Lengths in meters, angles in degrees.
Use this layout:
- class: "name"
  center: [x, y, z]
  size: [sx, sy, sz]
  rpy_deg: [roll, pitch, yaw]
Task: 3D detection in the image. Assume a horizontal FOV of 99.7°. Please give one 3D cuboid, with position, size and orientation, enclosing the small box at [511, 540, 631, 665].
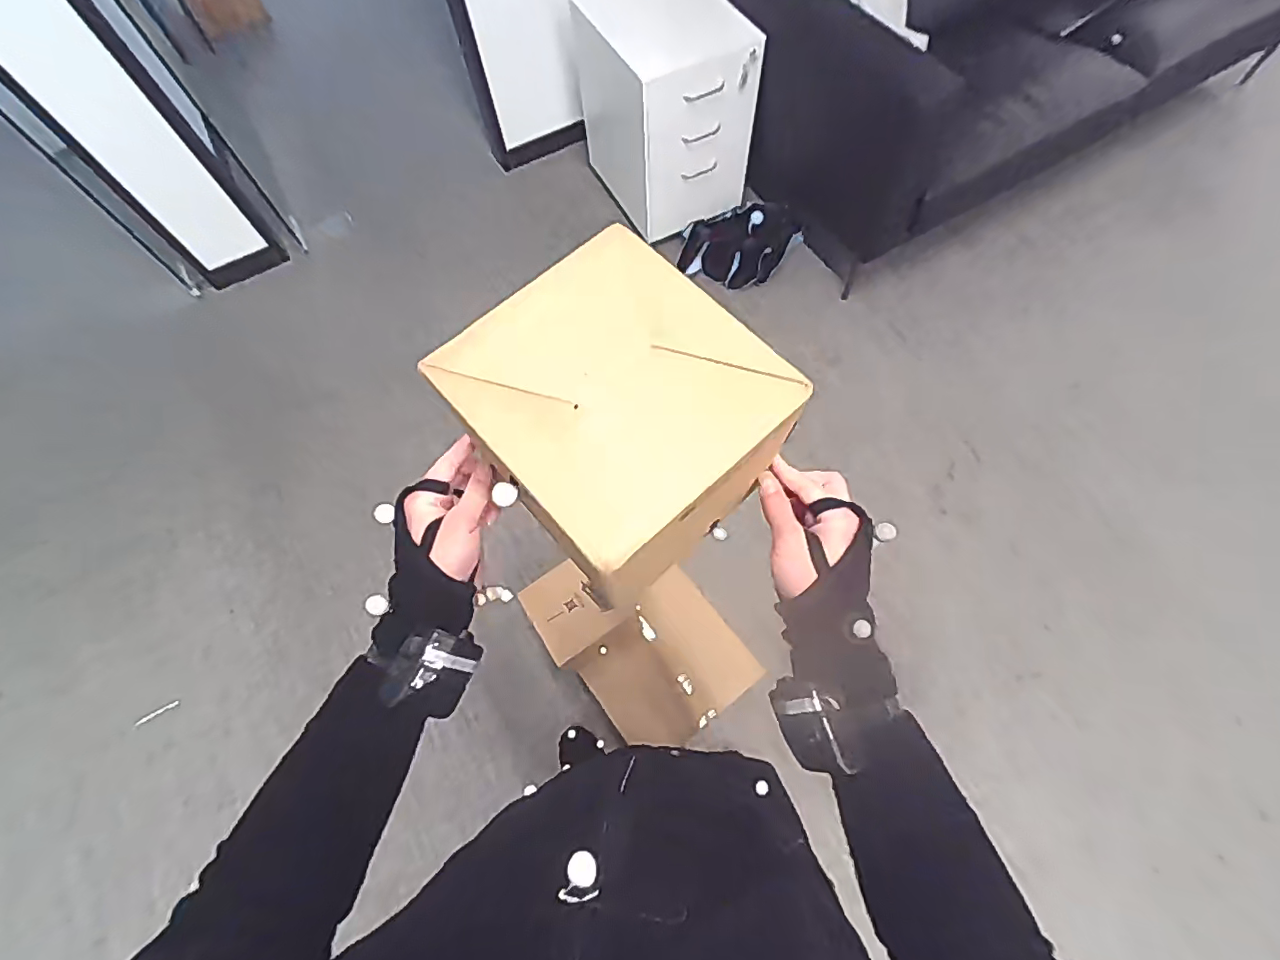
- class: "small box"
  center: [-0.129, 0.251, 1.089]
  size: [0.179, 0.176, 0.168]
  rpy_deg: [-33, 68, -8]
